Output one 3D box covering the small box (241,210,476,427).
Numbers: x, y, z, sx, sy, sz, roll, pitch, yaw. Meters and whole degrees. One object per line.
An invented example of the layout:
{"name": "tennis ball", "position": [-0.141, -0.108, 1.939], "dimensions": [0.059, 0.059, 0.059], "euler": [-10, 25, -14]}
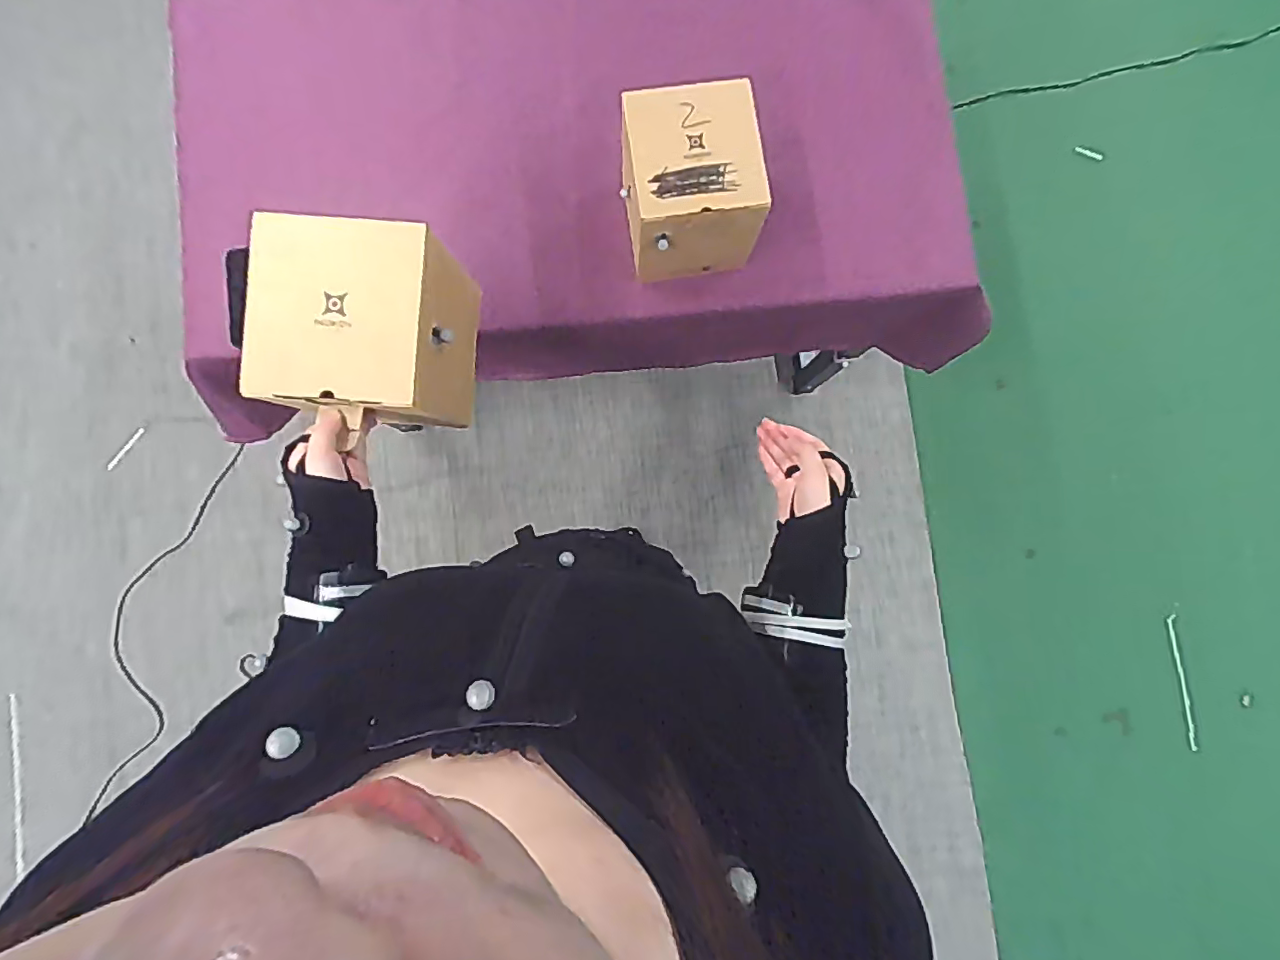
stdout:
{"name": "small box", "position": [-0.285, -0.159, 0.586], "dimensions": [0.168, 0.176, 0.179], "euler": [5, 90, -1]}
